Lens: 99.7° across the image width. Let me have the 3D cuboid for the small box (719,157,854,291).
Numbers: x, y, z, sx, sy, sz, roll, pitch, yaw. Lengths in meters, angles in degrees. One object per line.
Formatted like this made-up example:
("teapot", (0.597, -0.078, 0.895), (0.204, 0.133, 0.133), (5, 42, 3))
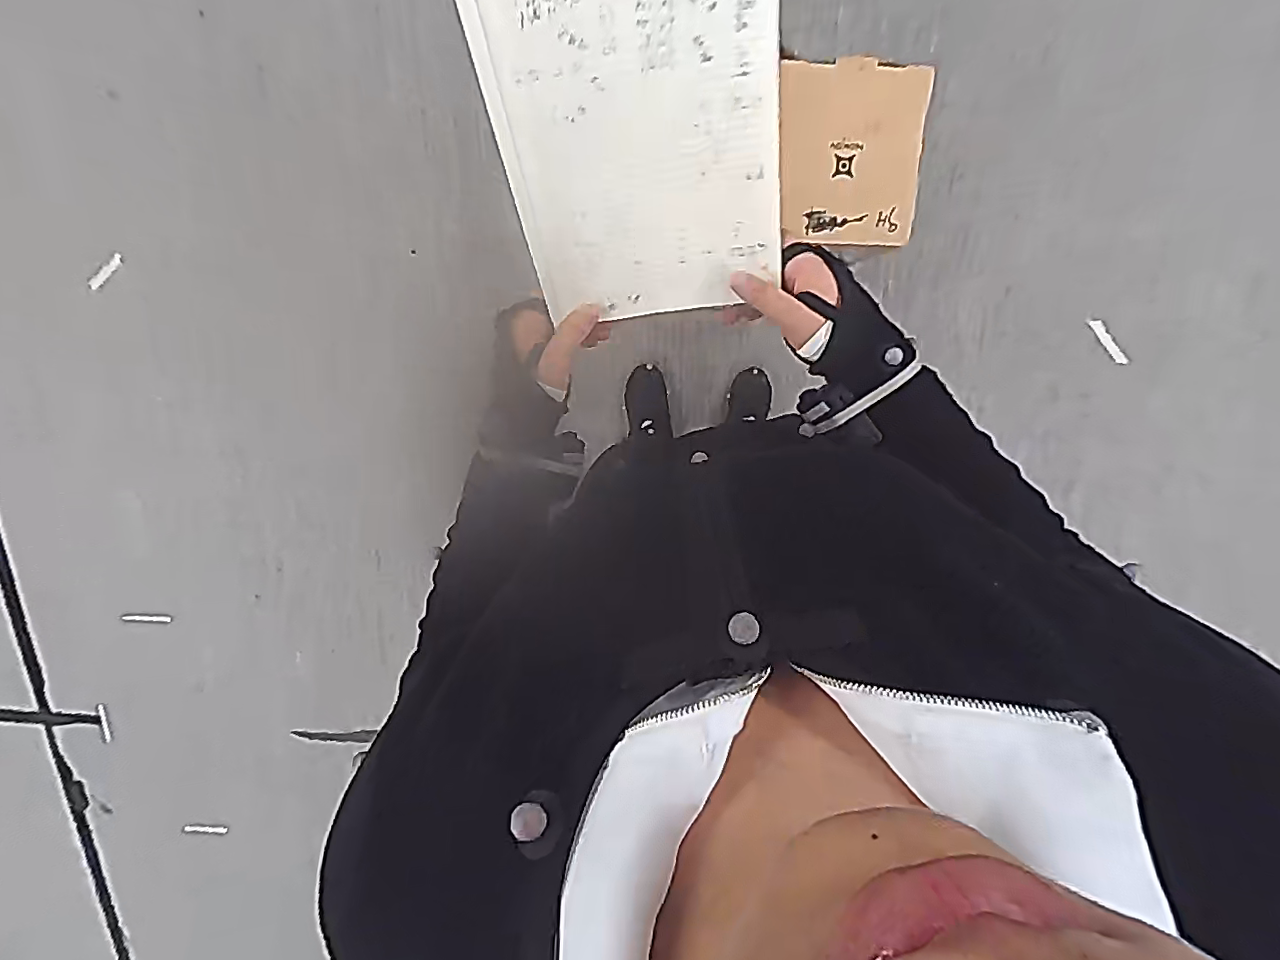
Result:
("small box", (0.223, -0.386, 0.834), (0.179, 0.176, 0.168), (0, 105, 1))

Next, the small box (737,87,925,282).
("small box", (0.221, -0.351, 0.674), (0.168, 0.176, 0.179), (2, 105, -1))
